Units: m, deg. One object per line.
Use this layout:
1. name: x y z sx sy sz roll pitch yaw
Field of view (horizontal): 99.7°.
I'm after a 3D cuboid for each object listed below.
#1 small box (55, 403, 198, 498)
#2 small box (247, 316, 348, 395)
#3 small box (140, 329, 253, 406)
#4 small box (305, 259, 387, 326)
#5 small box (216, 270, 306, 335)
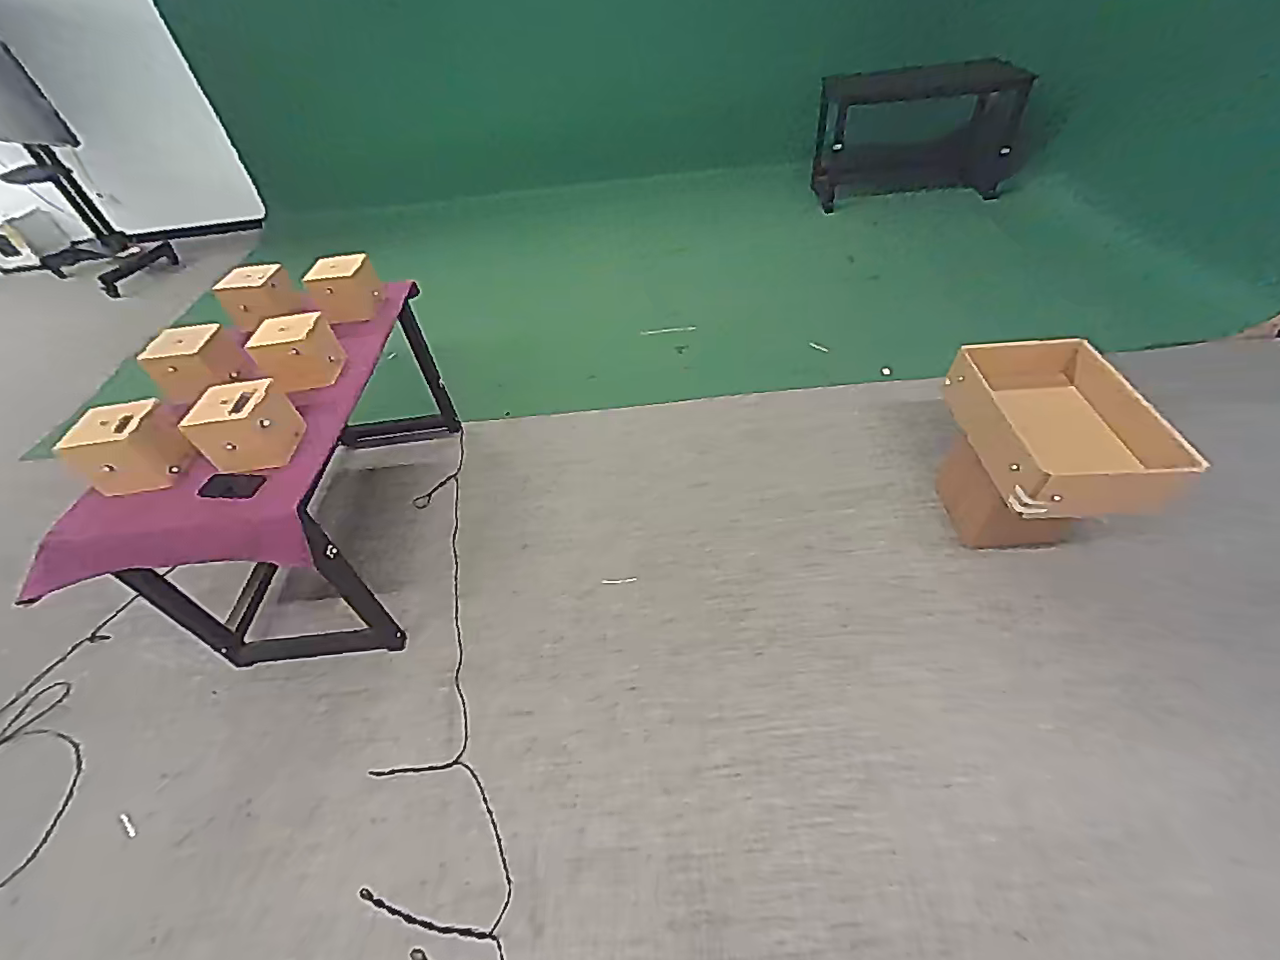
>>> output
1. small box: -1.305 -0.074 1.395 0.179 0.176 0.168 -9 45 -1
2. small box: -1.043 -0.378 1.661 0.179 0.176 0.168 -8 45 0
3. small box: -1.359 -0.344 1.670 0.179 0.176 0.168 -6 46 0
4. small box: -1.046 -0.667 1.939 0.179 0.176 0.168 -5 47 3
5. small box: -1.362 -0.638 1.957 0.179 0.176 0.168 -5 46 3
